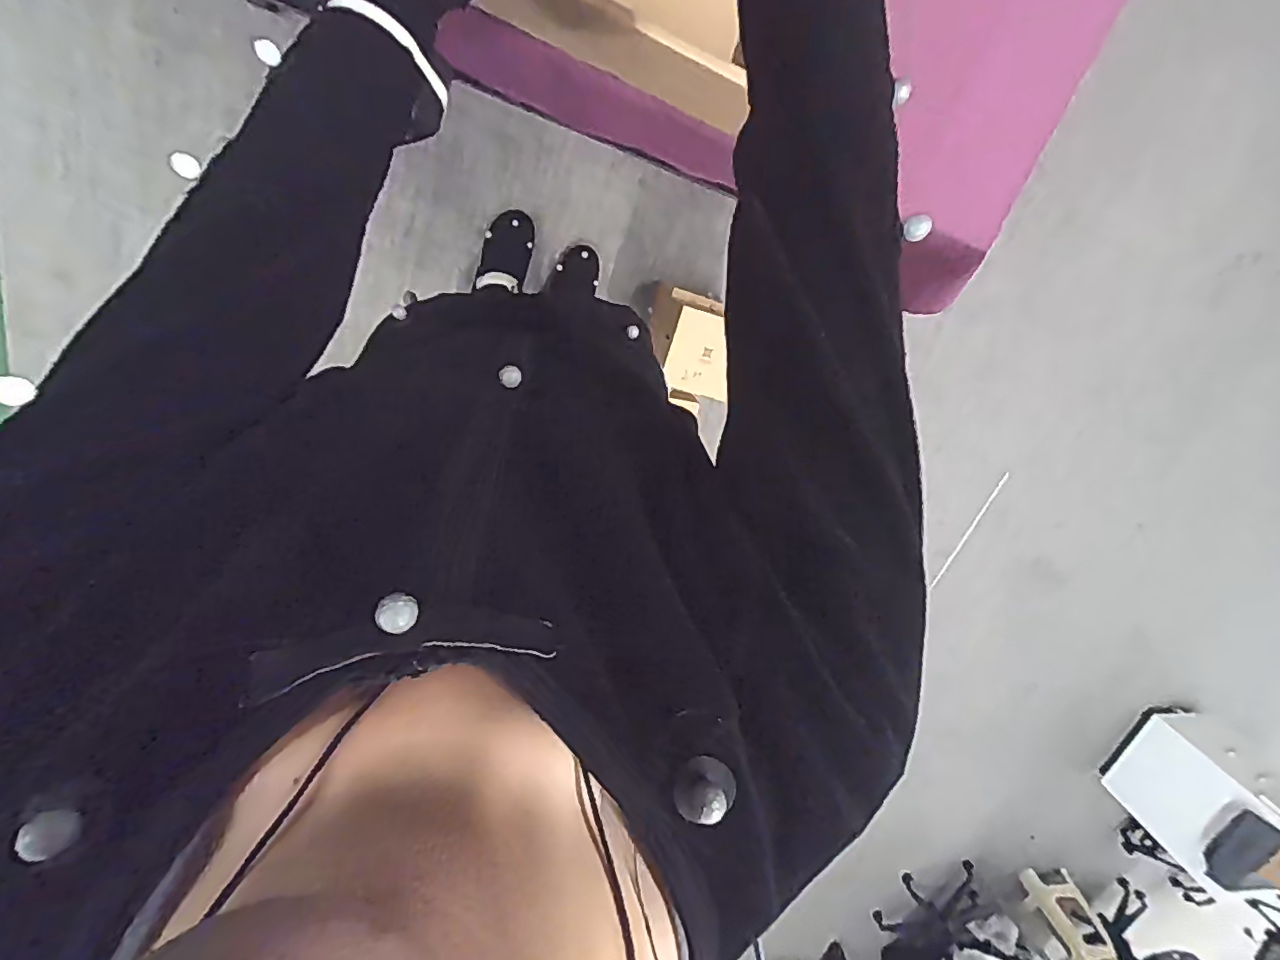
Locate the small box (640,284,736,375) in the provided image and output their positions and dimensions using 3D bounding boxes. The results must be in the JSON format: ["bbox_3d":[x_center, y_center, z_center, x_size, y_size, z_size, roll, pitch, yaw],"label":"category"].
[{"bbox_3d":[0.114,-0.386,1.374,0.179,0.176,0.168,13,113,-16],"label":"small box"}]
